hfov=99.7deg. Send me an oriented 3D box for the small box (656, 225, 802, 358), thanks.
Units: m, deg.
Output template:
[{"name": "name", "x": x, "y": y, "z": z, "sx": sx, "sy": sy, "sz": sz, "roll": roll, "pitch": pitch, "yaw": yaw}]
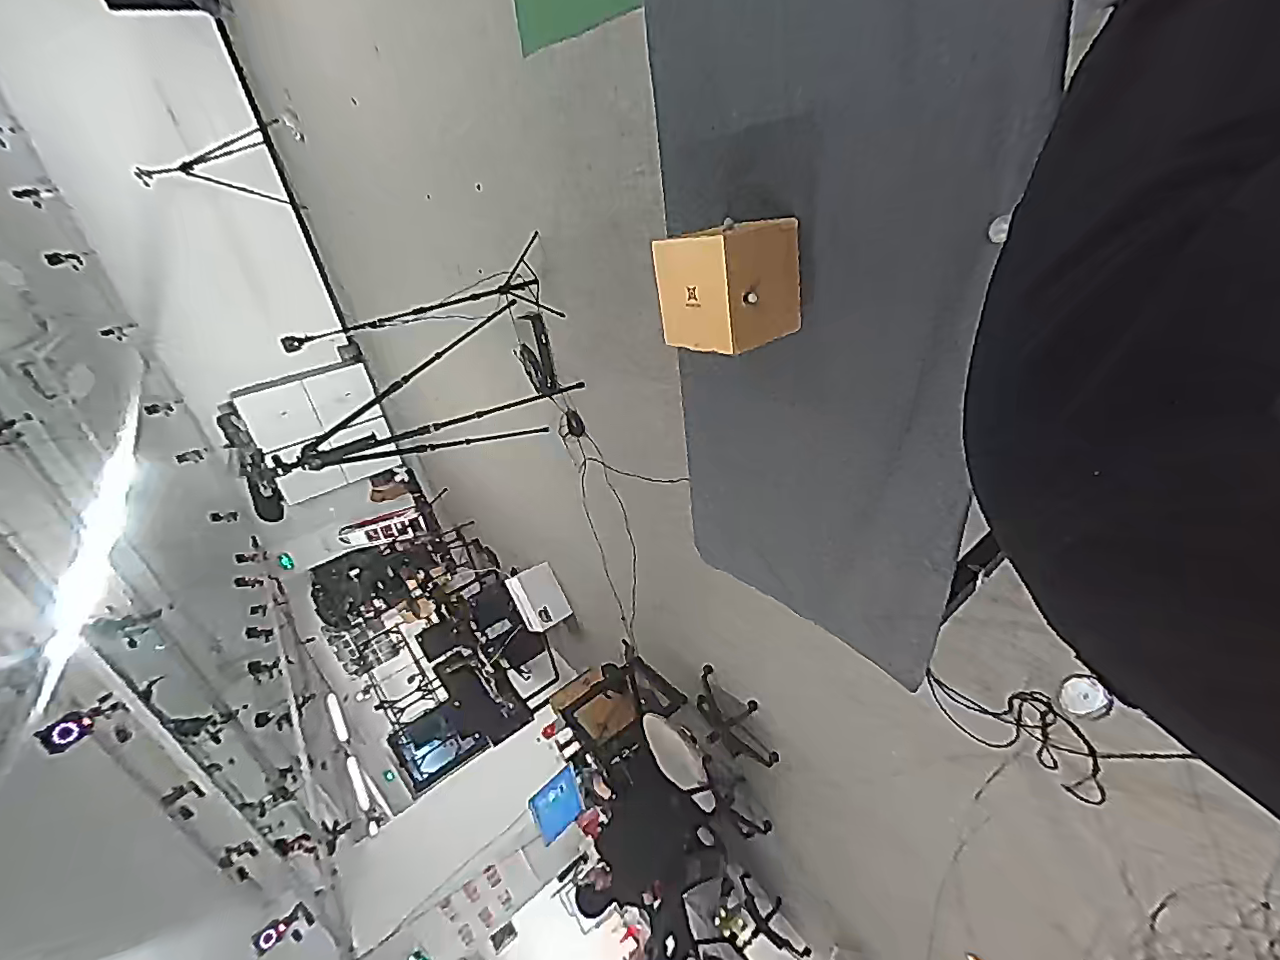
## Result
[{"name": "small box", "x": 0.152, "y": -0.319, "z": 0.902, "sx": 0.168, "sy": 0.176, "sz": 0.179, "roll": 24, "pitch": 133, "yaw": 49}]
